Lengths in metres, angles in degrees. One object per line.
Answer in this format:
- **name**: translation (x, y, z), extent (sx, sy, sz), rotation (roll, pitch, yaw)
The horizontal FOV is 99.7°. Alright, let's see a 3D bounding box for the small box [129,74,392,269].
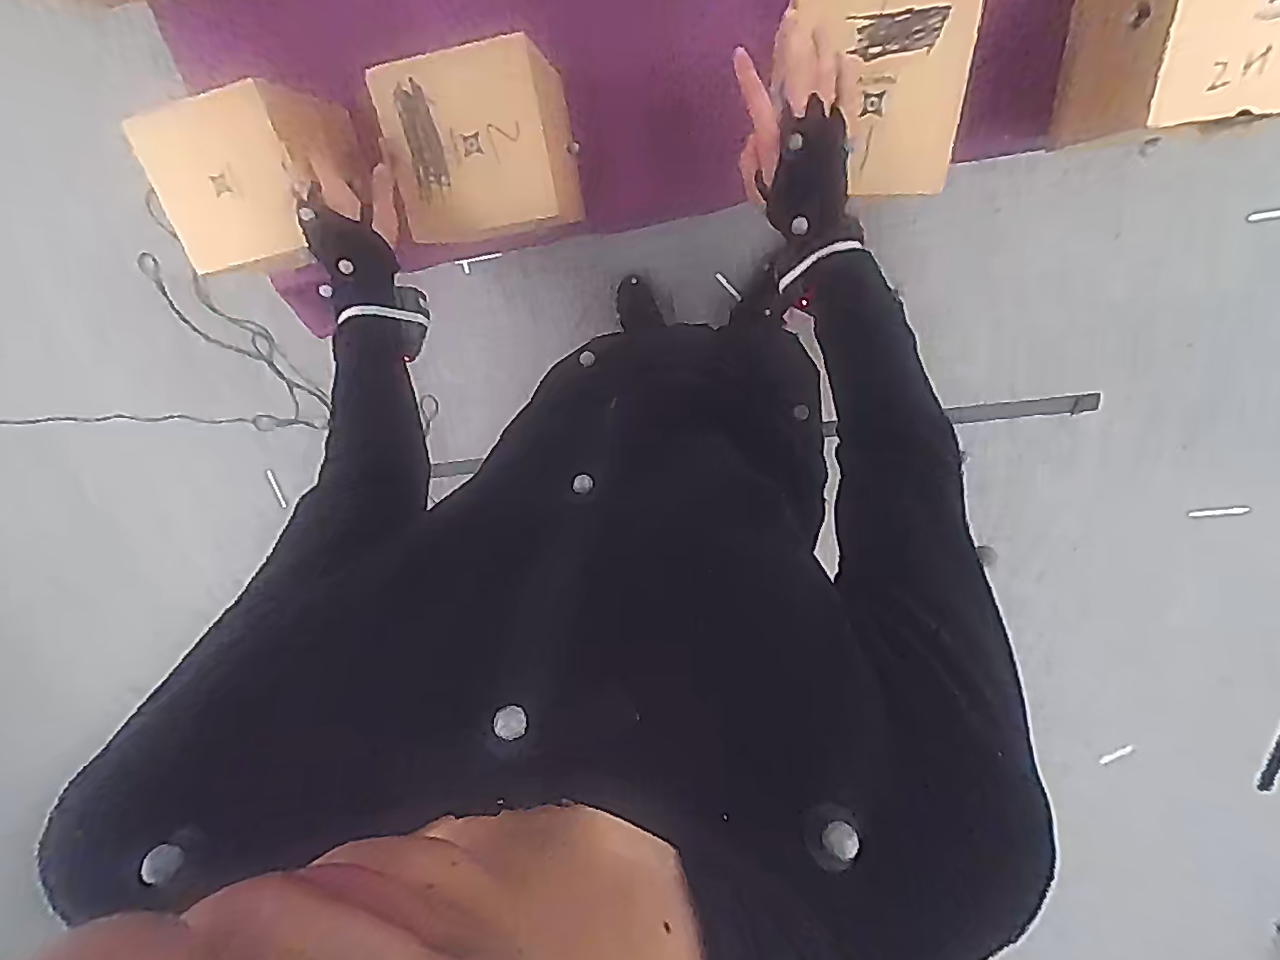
- **small box**: translation (-0.455, -0.371, 0.682), extent (0.179, 0.176, 0.168), rotation (-10, 113, 9)

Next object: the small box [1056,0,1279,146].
- **small box**: translation (0.556, -0.448, 0.532), extent (0.168, 0.176, 0.179), rotation (-1, 114, 8)
